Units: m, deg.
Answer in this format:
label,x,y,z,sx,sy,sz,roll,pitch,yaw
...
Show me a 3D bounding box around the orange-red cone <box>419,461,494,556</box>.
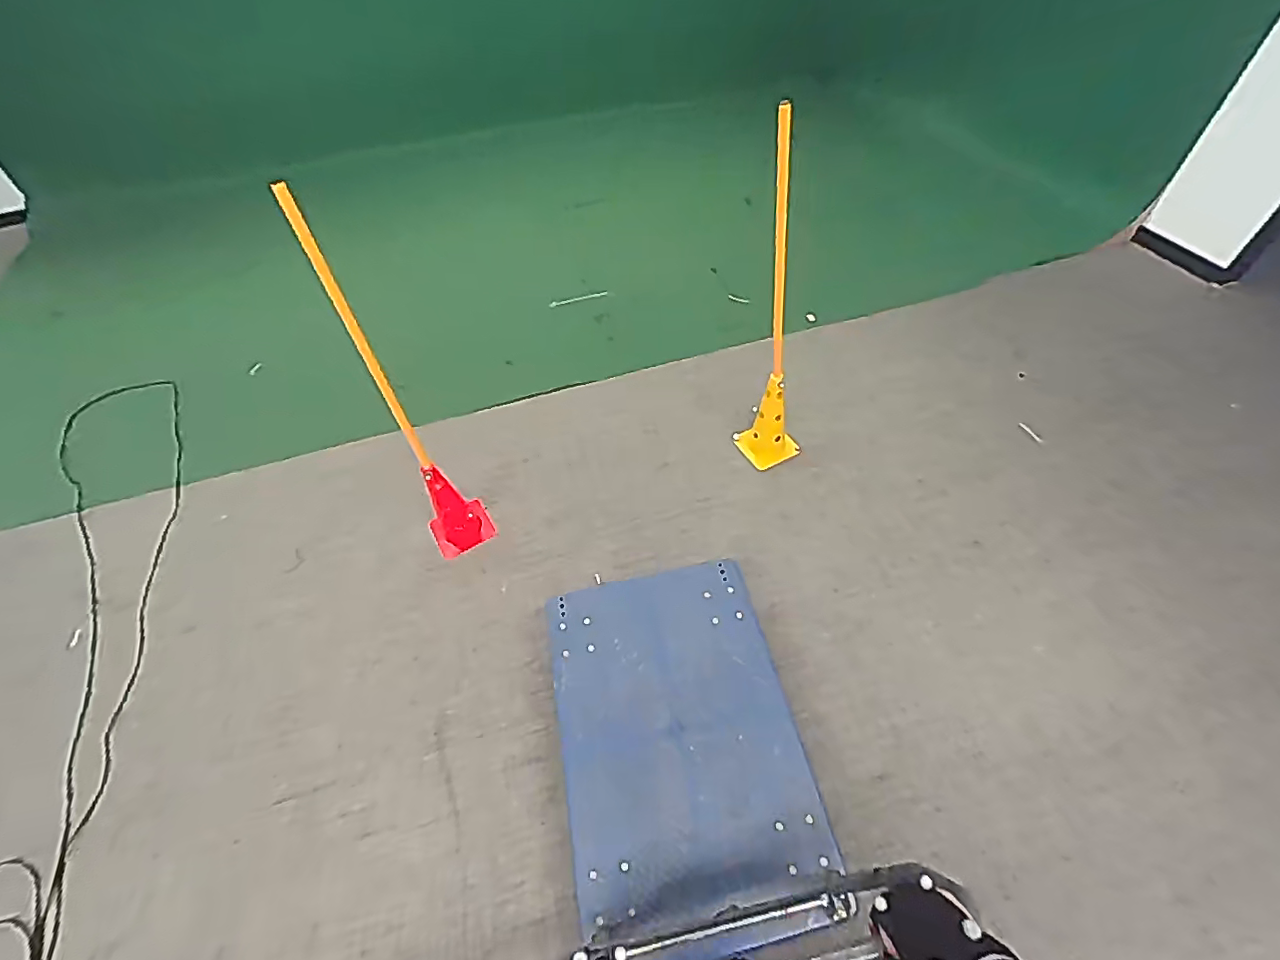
label,x,y,z,sx,sy,sz,roll,pitch,yaw
orange-red cone,-0.656,0.062,1.815,0.199,0.360,0.198,-28,55,-15
